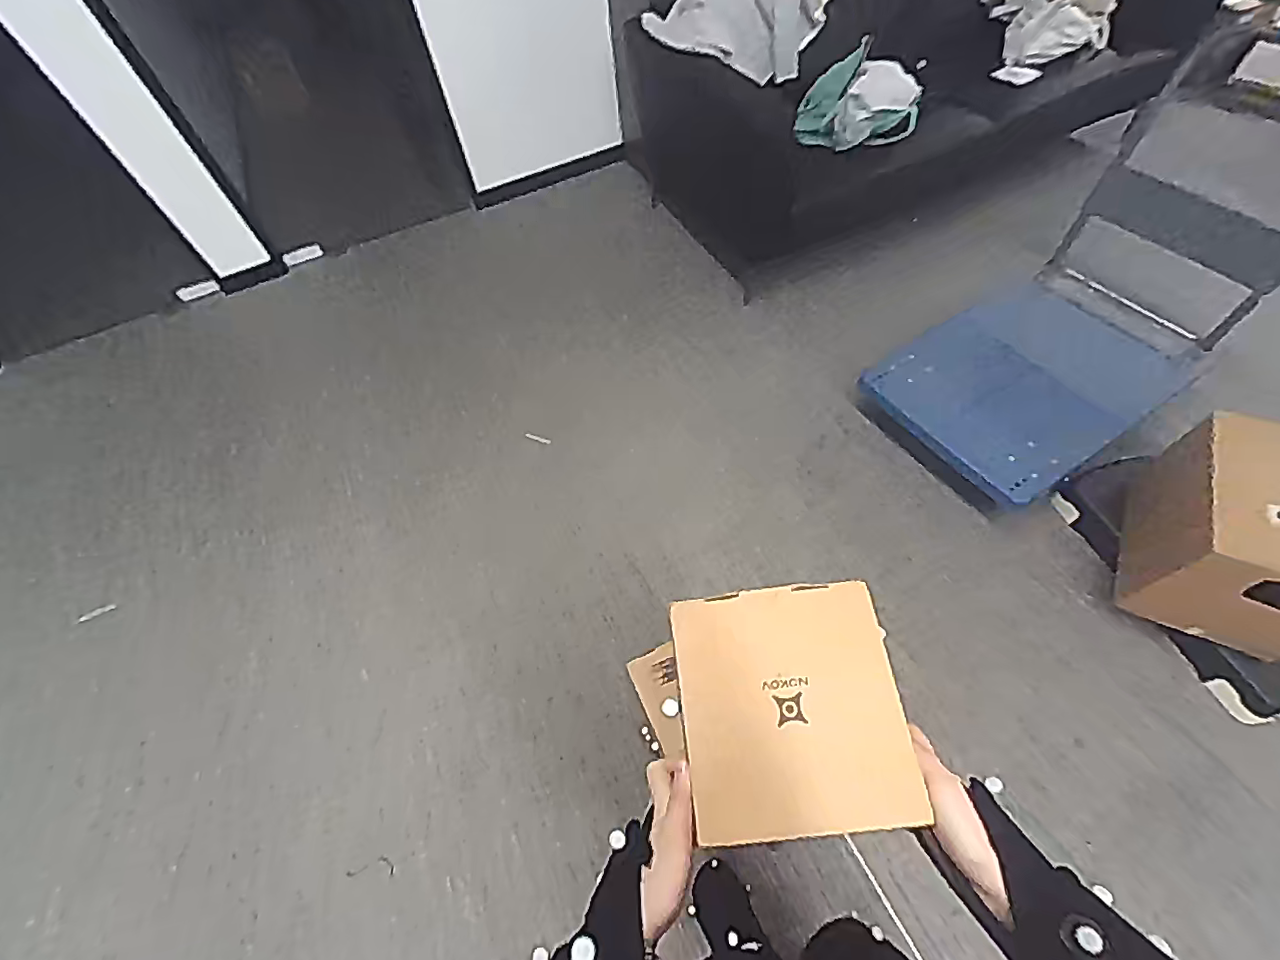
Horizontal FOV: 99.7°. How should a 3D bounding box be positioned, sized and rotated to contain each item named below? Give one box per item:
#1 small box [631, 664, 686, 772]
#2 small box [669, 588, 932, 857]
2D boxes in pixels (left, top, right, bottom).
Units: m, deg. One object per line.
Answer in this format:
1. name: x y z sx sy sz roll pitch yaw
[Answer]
1. small box: 0.098 0.483 1.122 0.179 0.176 0.168 -23 59 -10
2. small box: 0.121 0.210 0.479 0.168 0.176 0.179 -7 62 2
